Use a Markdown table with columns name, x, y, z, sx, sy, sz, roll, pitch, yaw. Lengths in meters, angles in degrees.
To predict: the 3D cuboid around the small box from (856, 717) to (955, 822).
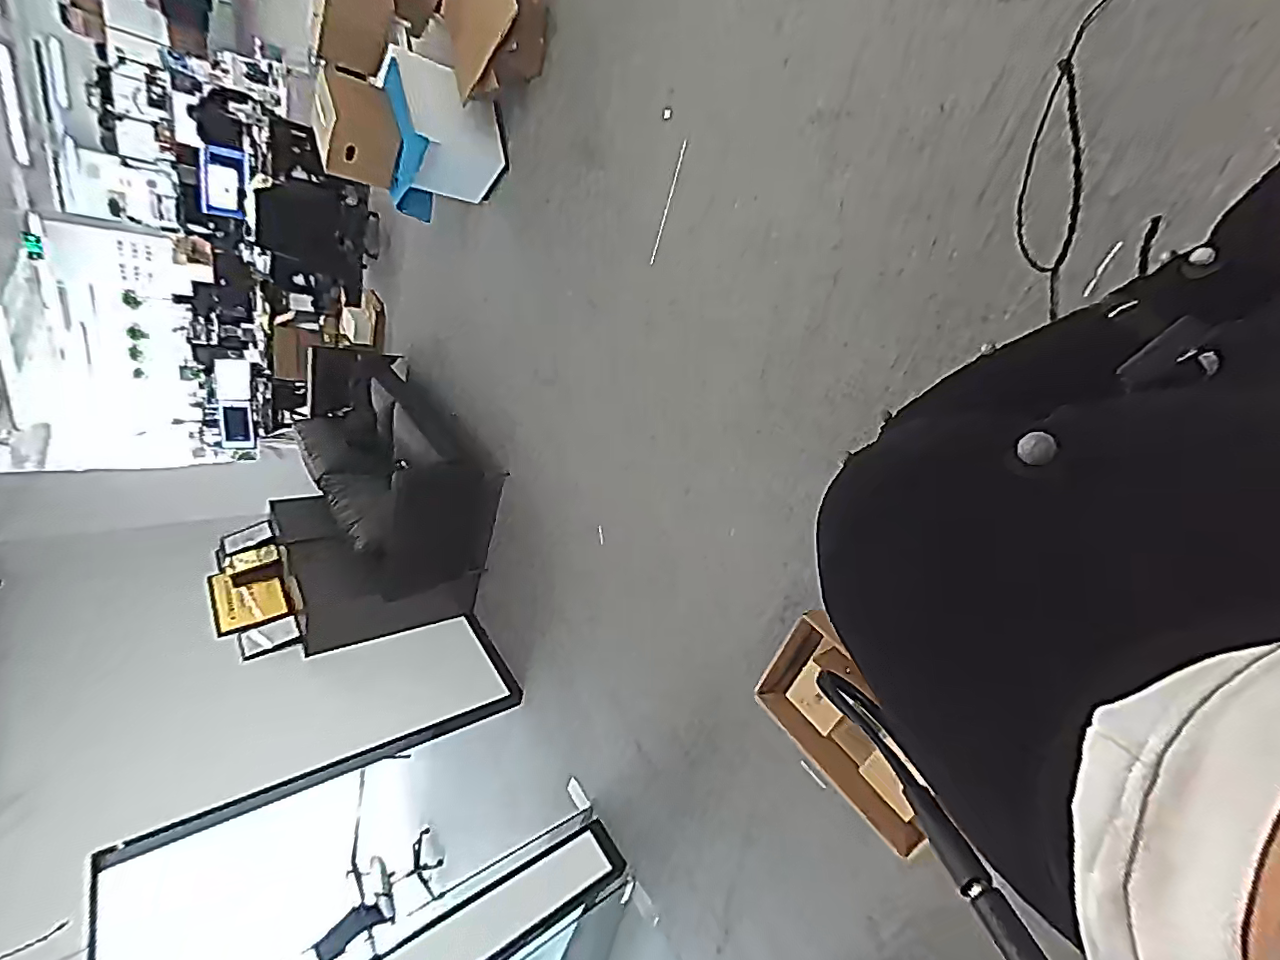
| name | x | y | z | sx | sy | sz | roll | pitch | yaw |
| --- | --- | --- | --- | --- | --- | --- | --- | --- | --- |
| small box | 0.758 | 0.813 | 1.535 | 0.168 | 0.176 | 0.179 | 43 | 126 | 37 |

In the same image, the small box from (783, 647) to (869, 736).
| name | x | y | z | sx | sy | sz | roll | pitch | yaw |
| --- | --- | --- | --- | --- | --- | --- | --- | --- | --- |
| small box | 0.592 | 0.659 | 1.704 | 0.168 | 0.176 | 0.179 | 44 | 125 | 36 |
